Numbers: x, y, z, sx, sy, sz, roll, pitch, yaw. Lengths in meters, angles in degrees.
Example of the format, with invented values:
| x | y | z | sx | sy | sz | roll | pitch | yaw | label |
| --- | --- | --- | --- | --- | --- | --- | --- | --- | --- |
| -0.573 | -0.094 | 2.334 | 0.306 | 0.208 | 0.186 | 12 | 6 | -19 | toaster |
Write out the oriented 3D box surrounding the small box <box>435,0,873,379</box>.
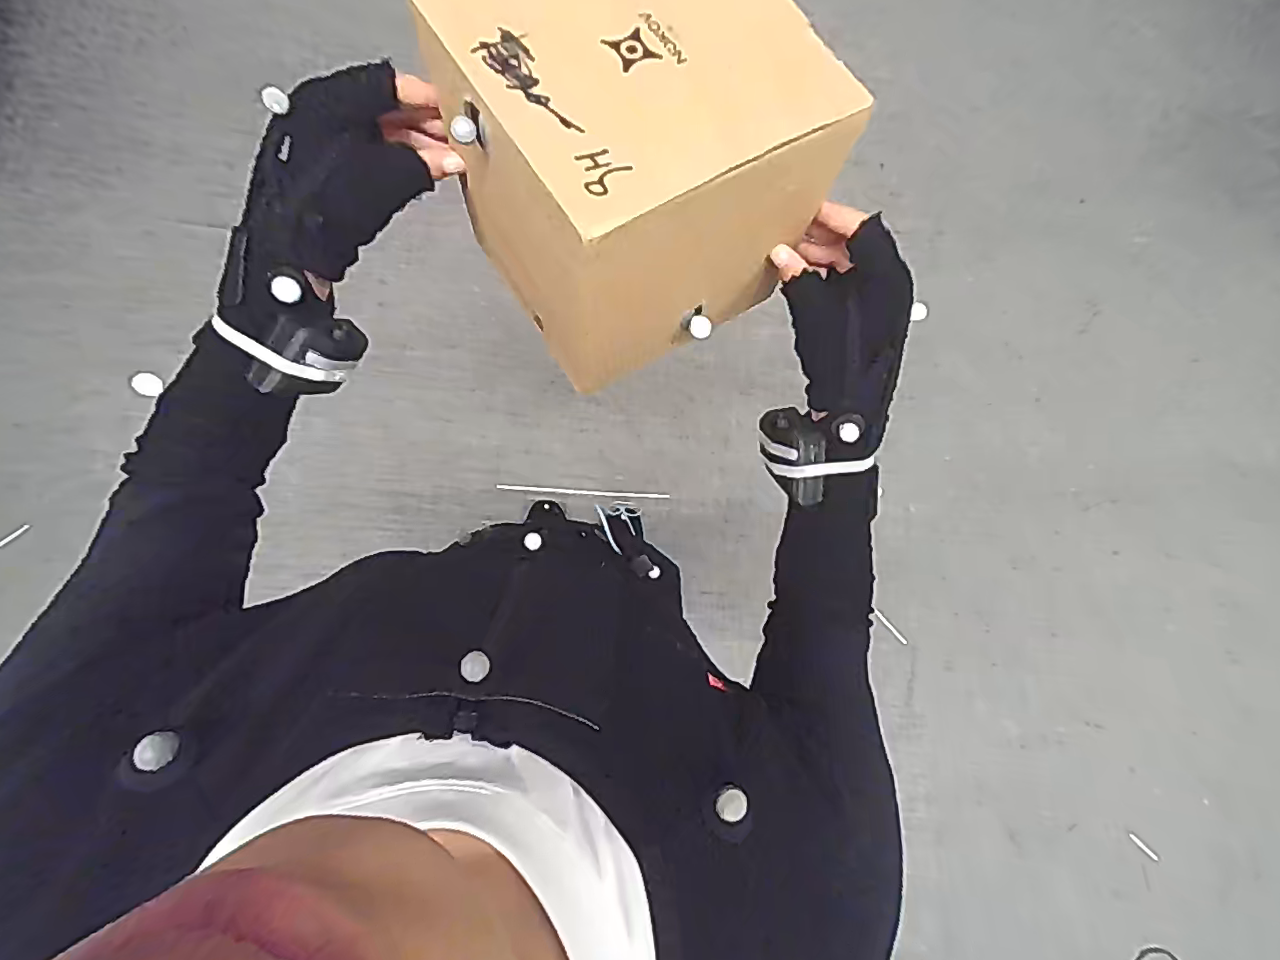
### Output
| x | y | z | sx | sy | sz | roll | pitch | yaw | label |
| --- | --- | --- | --- | --- | --- | --- | --- | --- | --- |
| 0.000 | -0.198 | 0.351 | 0.179 | 0.176 | 0.168 | -31 | 80 | -14 | small box |
